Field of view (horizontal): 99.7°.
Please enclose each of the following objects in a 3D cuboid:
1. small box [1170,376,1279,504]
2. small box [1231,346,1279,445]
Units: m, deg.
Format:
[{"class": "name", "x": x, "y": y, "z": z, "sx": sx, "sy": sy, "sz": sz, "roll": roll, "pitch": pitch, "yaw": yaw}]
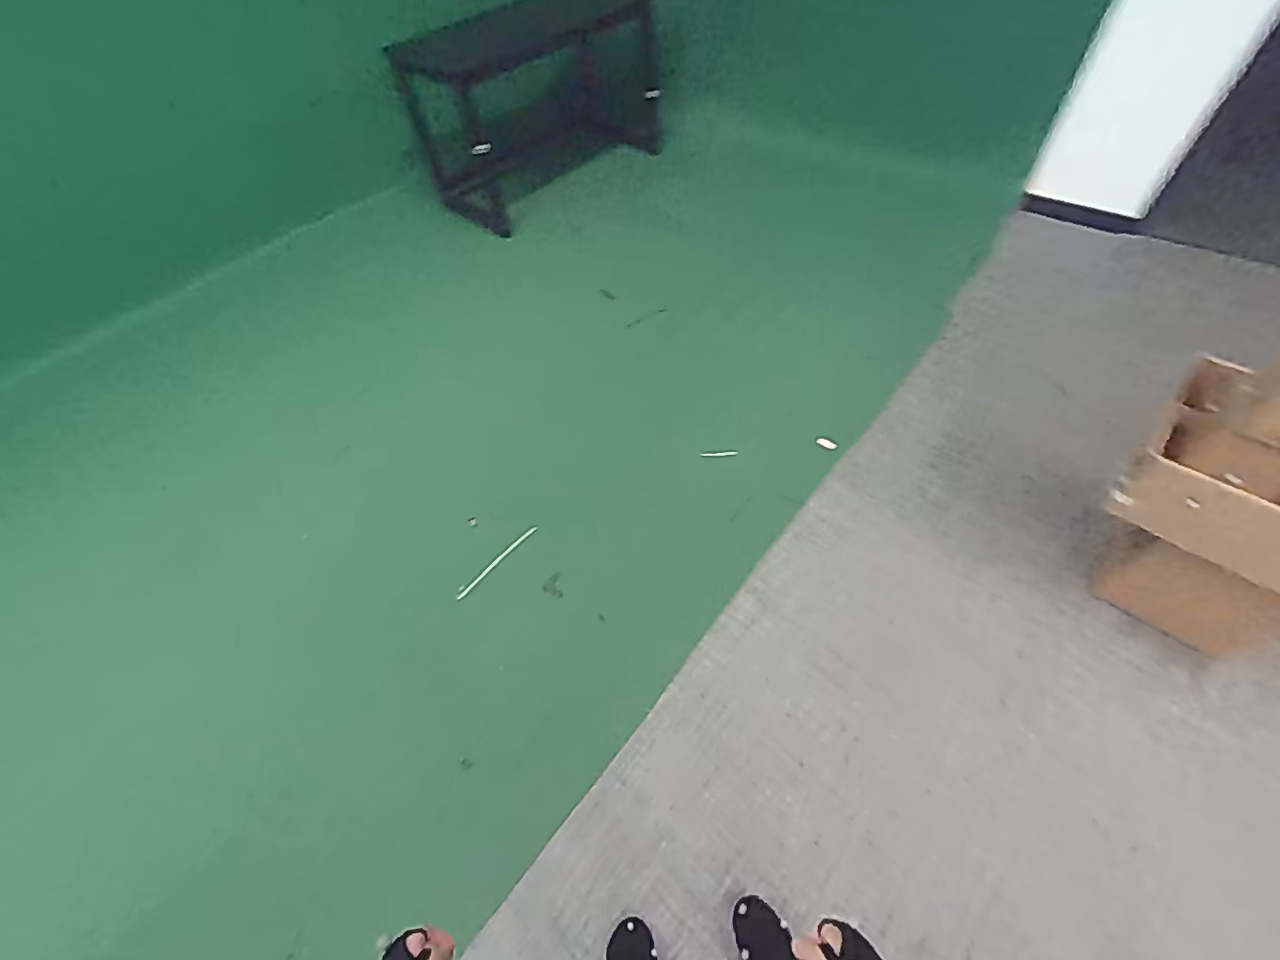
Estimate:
[{"class": "small box", "x": 1.302, "y": -0.084, "z": 1.163, "sx": 0.168, "sy": 0.176, "sz": 0.179, "roll": 30, "pitch": 62, "yaw": 24}, {"class": "small box", "x": 1.288, "y": -0.165, "z": 1.021, "sx": 0.168, "sy": 0.176, "sz": 0.179, "roll": 30, "pitch": 63, "yaw": 23}]
